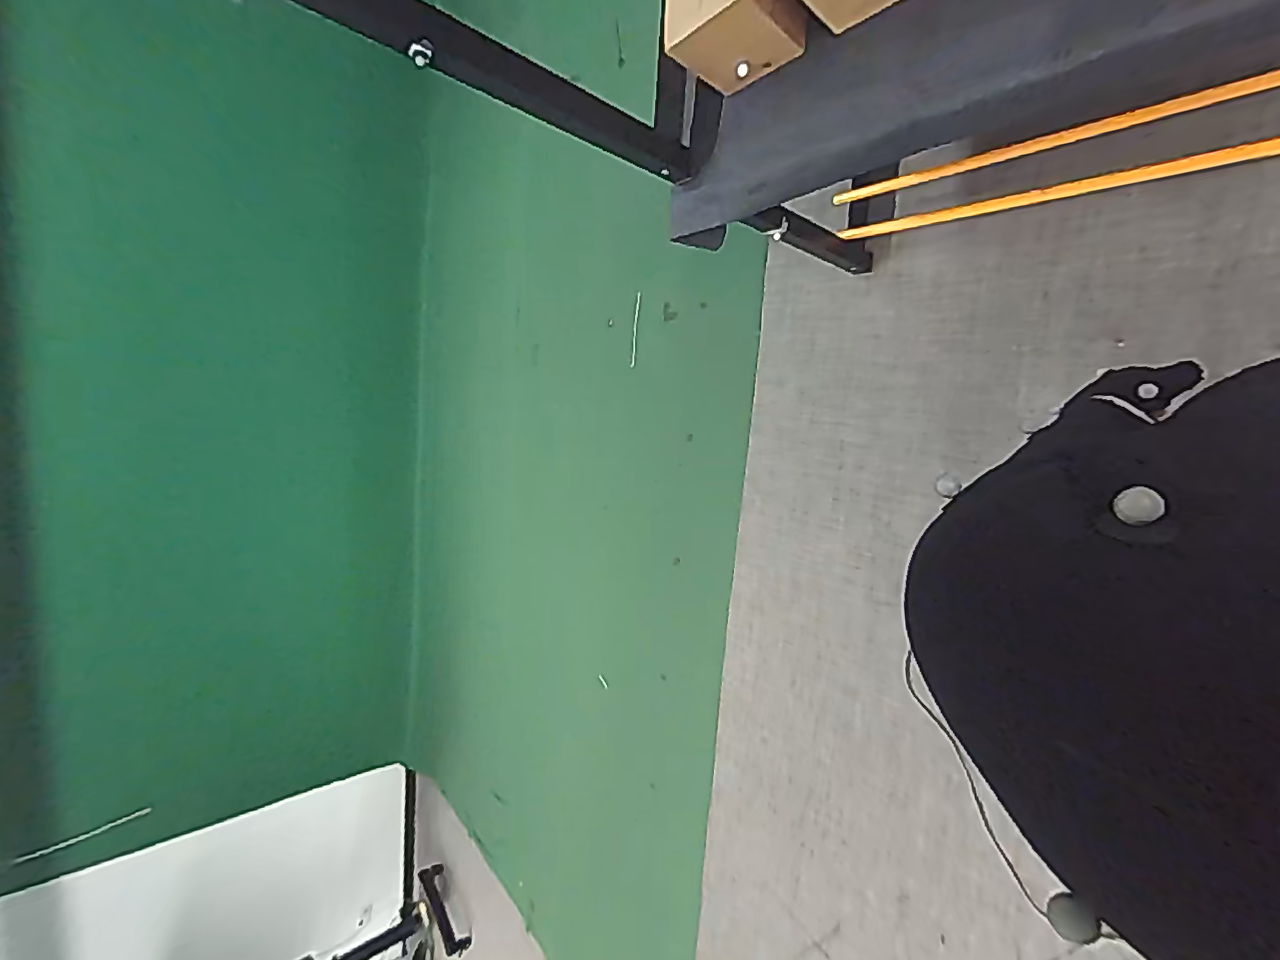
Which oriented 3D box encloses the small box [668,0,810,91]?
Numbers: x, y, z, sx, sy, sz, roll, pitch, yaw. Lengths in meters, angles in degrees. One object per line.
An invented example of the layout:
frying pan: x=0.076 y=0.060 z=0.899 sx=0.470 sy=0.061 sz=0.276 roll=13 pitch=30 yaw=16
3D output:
small box: x=0.166 y=-0.794 z=0.885 sx=0.168 sy=0.176 sz=0.179 roll=8 pitch=97 yaw=49
